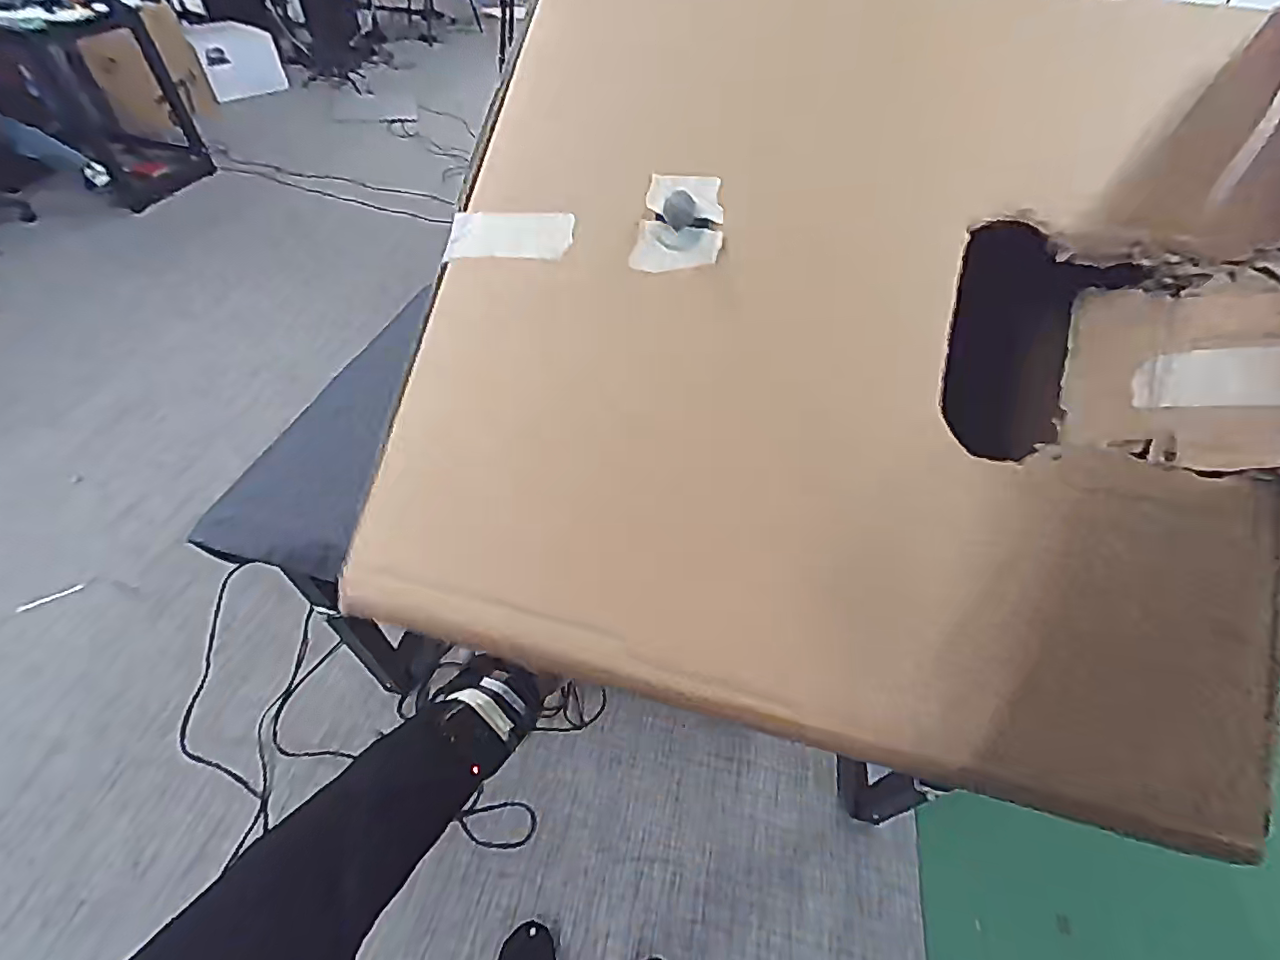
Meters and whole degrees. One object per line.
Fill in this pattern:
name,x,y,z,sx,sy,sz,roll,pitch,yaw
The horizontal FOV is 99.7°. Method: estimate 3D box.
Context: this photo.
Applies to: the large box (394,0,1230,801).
large box,0.086,-0.031,0.411,0.320,0.408,0.320,12,81,6
